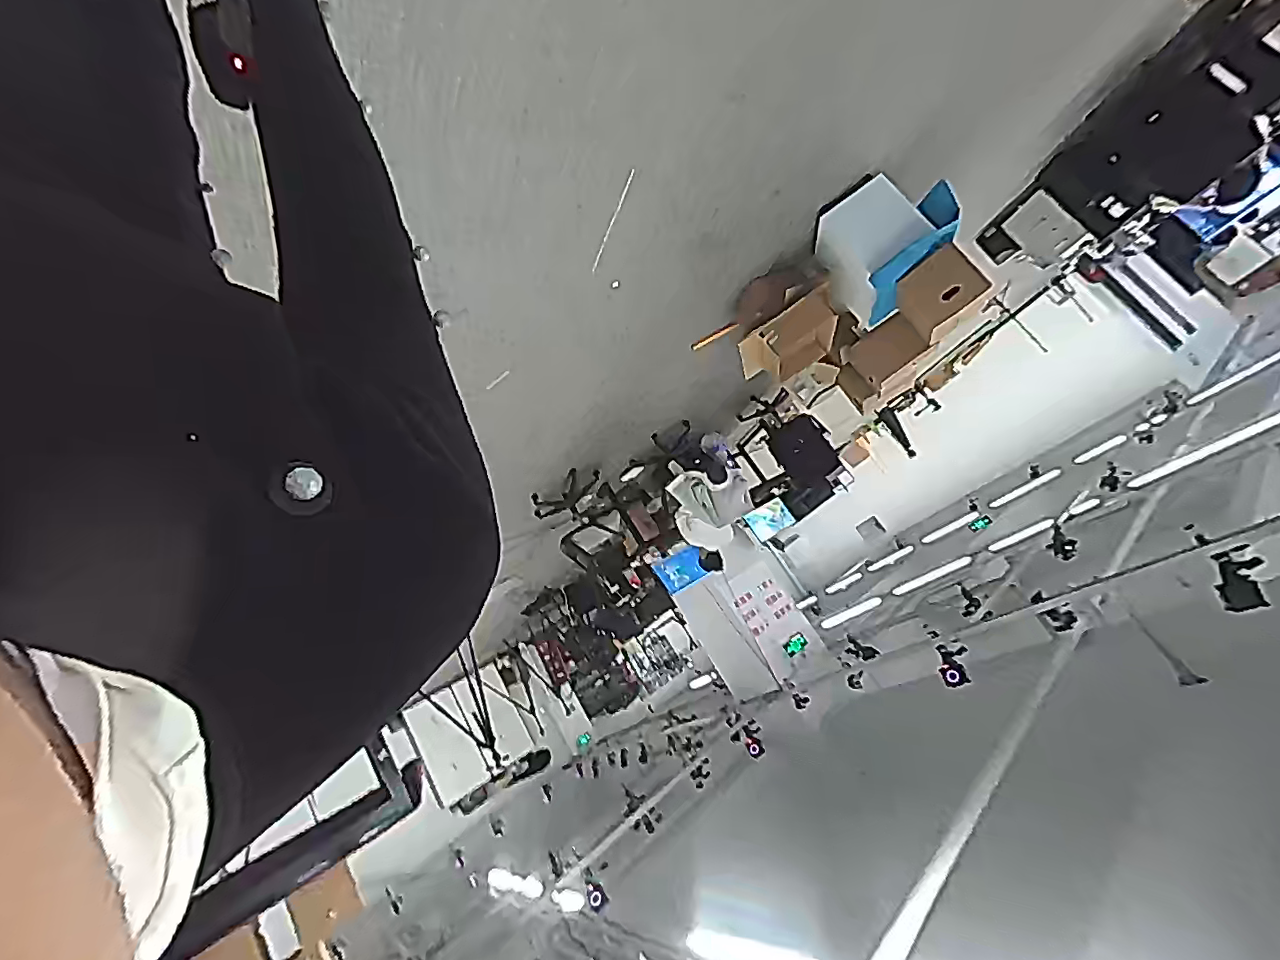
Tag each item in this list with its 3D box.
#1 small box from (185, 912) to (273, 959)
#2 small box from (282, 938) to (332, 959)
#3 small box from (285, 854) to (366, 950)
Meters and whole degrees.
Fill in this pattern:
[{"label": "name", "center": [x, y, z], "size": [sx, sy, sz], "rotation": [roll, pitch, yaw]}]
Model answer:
[{"label": "small box", "center": [-1.184, 1.394, 1.550], "size": [0.179, 0.176, 0.168], "rotation": [-24, 163, -34]}, {"label": "small box", "center": [-1.004, 1.493, 1.595], "size": [0.168, 0.176, 0.179], "rotation": [-22, 163, -36]}, {"label": "small box", "center": [-0.990, 1.314, 1.700], "size": [0.179, 0.176, 0.168], "rotation": [-20, 160, -39]}]
